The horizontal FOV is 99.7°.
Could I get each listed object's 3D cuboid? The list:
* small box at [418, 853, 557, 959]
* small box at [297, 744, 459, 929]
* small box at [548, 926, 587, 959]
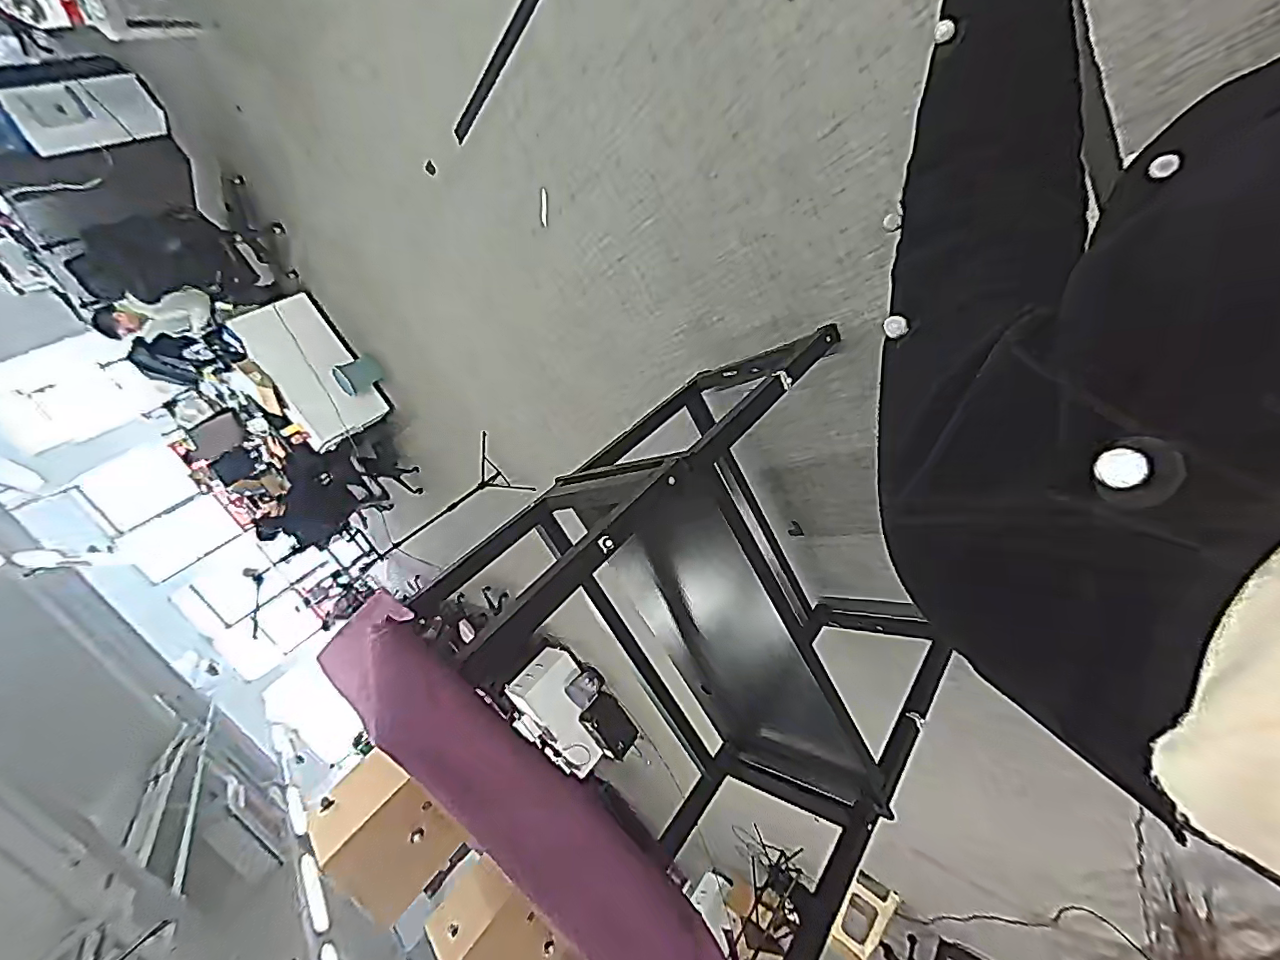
[{"bbox_3d":[-0.282,0.856,1.020,0.179,0.176,0.168,-16,112,55],"label":"small box"},{"bbox_3d":[-0.437,0.583,0.913,0.179,0.176,0.168,-3,122,51],"label":"small box"},{"bbox_3d":[-0.159,1.082,1.112,0.168,0.176,0.179,-13,114,54],"label":"small box"}]
